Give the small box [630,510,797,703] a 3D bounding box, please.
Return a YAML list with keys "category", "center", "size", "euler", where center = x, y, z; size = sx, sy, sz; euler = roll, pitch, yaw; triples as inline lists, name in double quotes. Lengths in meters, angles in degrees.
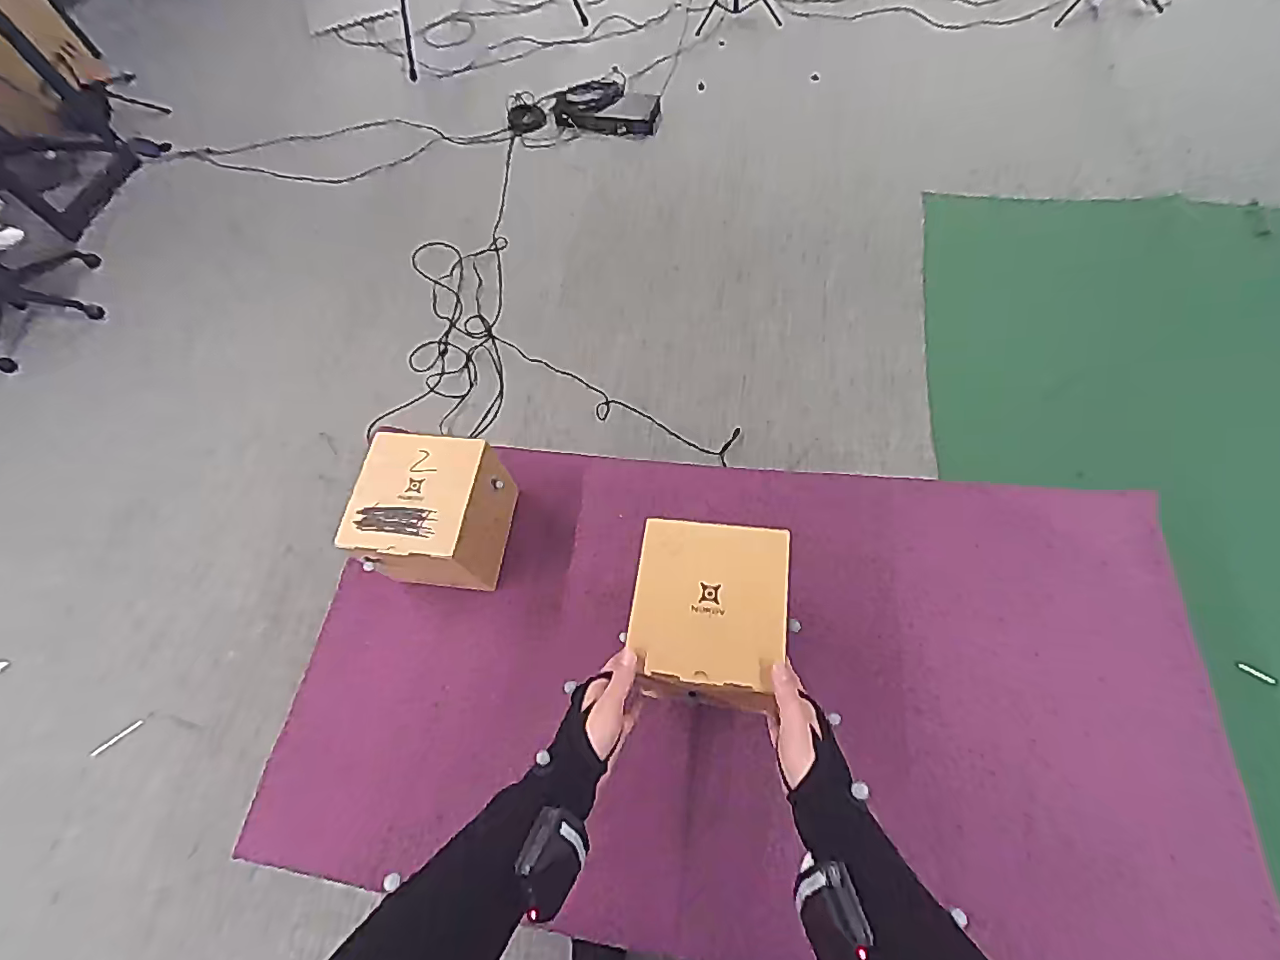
- category: "small box"
  center: [0.090, 0.156, 0.648]
  size: [0.168, 0.176, 0.179]
  euler: [5, 63, 10]
